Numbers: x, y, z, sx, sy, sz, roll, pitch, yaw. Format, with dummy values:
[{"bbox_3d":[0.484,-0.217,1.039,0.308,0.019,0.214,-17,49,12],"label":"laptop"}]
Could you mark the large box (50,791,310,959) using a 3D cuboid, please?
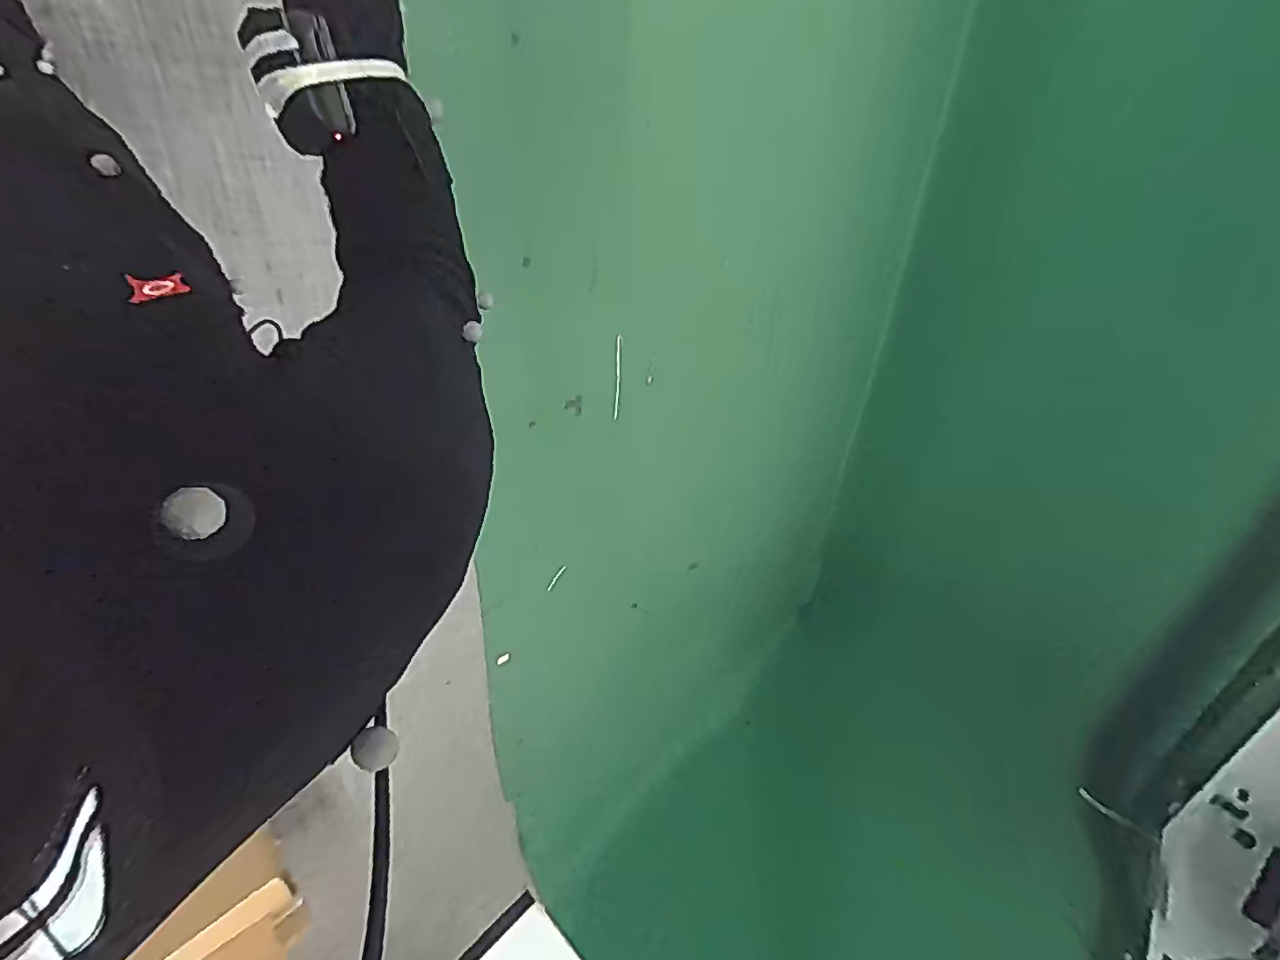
[{"bbox_3d":[-1.151,1.116,1.382,0.408,0.320,0.320,-27,131,-37],"label":"large box"}]
